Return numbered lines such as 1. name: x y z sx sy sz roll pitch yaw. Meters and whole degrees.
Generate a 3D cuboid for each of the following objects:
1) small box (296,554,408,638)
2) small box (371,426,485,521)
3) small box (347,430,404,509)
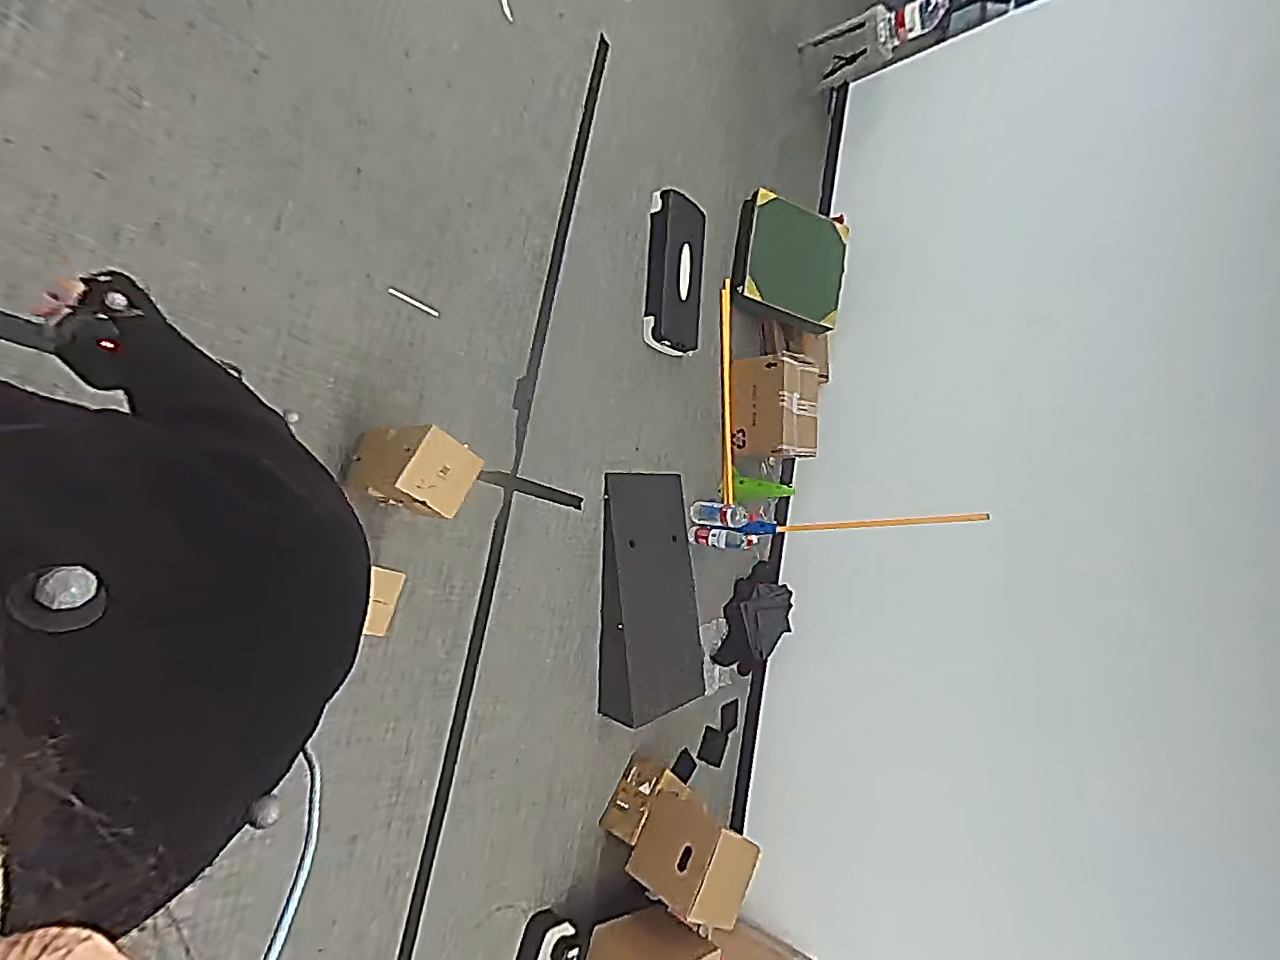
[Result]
1. small box: -0.736 0.291 1.378 0.179 0.176 0.168 30 71 -46
2. small box: -0.529 -0.016 1.343 0.168 0.176 0.179 43 60 -40
3. small box: -0.655 -0.022 1.450 0.168 0.176 0.179 28 72 -46
